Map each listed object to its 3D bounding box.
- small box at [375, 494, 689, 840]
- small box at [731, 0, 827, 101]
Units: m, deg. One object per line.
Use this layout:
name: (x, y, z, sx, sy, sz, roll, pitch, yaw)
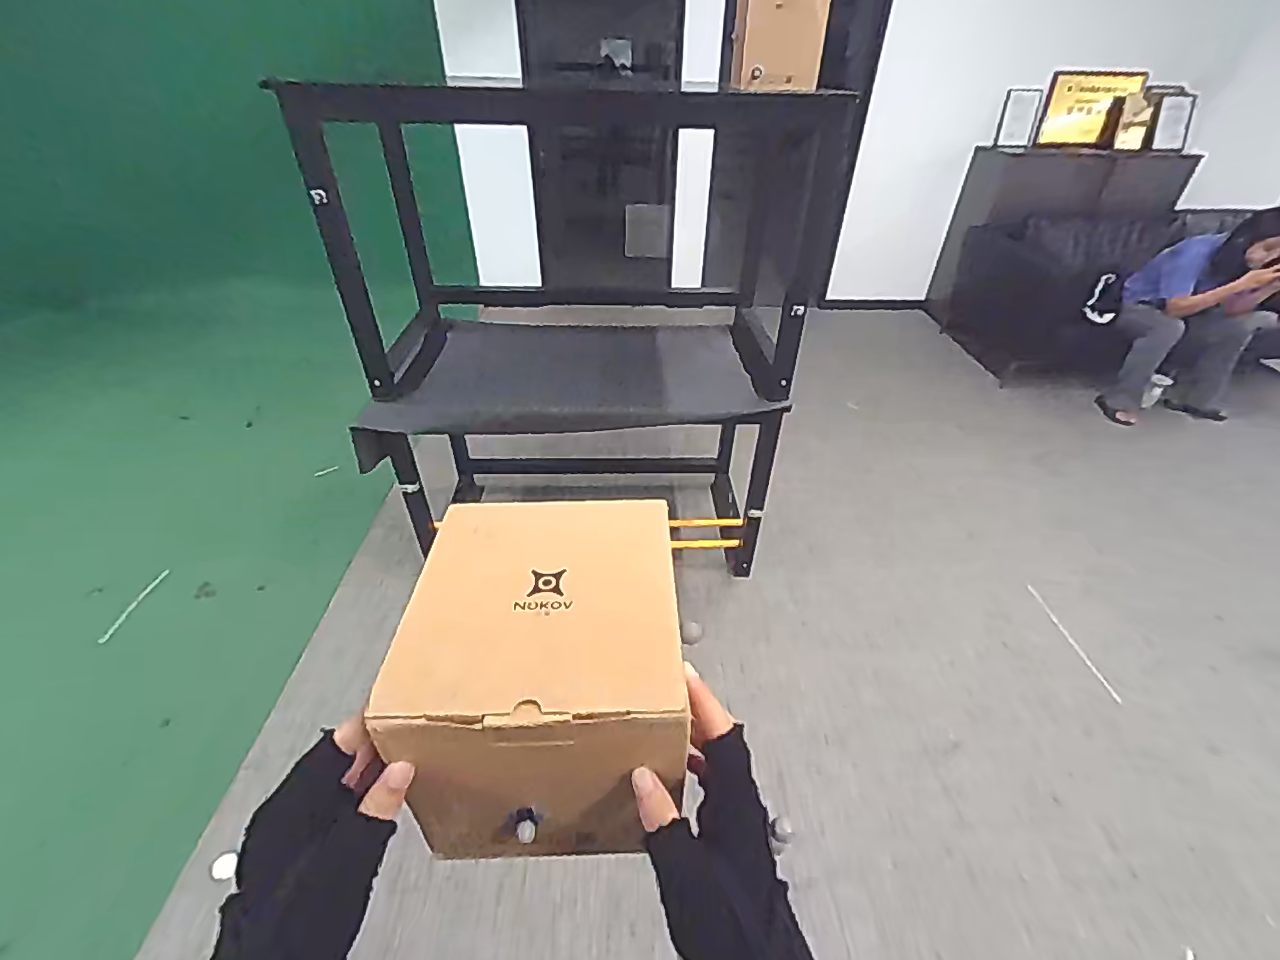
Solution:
small box: (-0.058, 0.127, 0.390, 0.168, 0.176, 0.179, -1, 36, -1)
small box: (0.298, -0.944, 1.194, 0.168, 0.176, 0.179, 1, 36, 0)
